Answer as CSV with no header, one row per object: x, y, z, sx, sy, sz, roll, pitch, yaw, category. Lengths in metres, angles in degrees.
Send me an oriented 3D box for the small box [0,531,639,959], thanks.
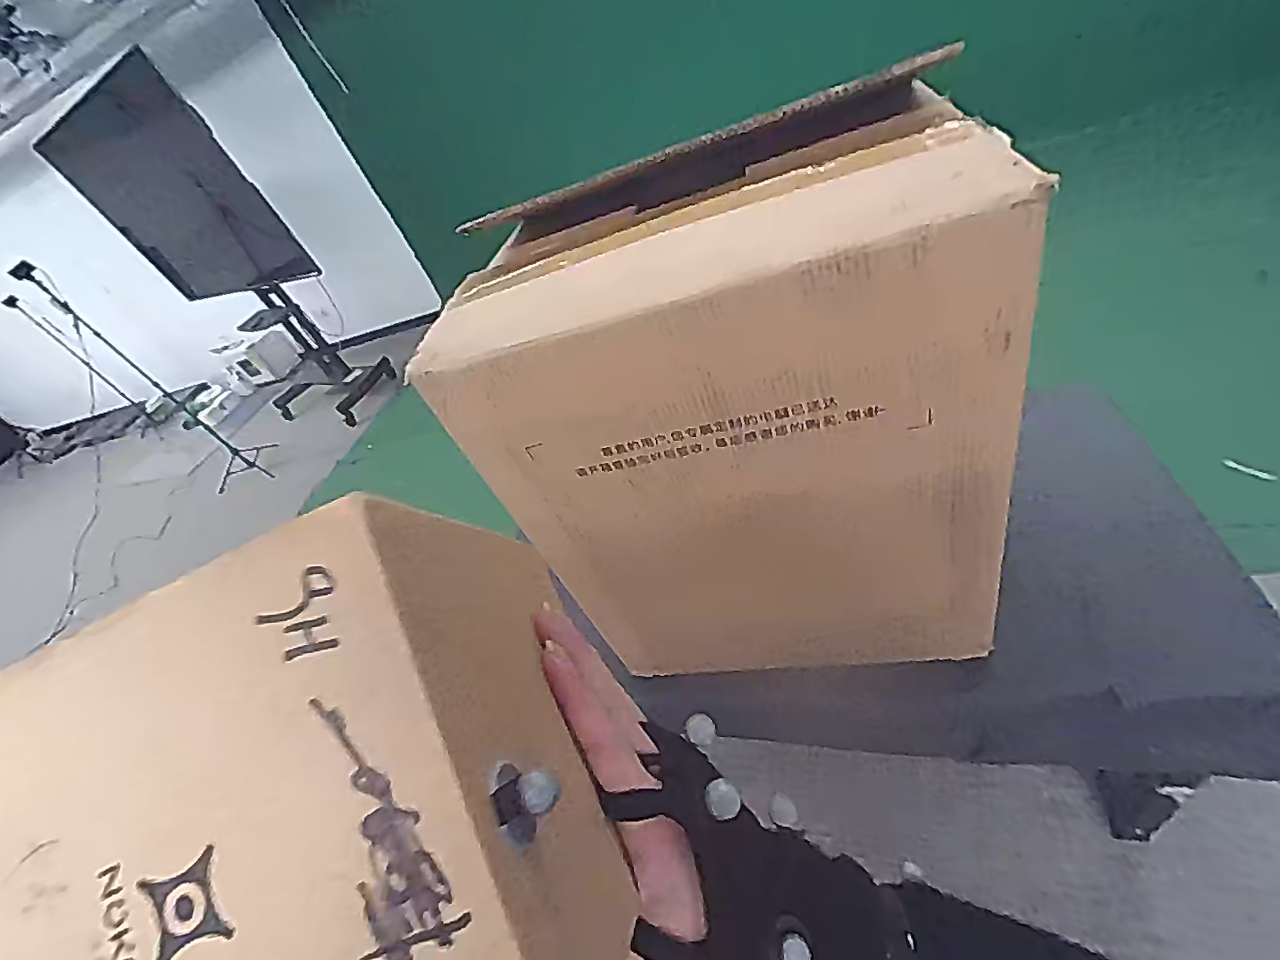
-0.116,0.138,0.217,0.179,0.176,0.168,-26,77,1,small box
